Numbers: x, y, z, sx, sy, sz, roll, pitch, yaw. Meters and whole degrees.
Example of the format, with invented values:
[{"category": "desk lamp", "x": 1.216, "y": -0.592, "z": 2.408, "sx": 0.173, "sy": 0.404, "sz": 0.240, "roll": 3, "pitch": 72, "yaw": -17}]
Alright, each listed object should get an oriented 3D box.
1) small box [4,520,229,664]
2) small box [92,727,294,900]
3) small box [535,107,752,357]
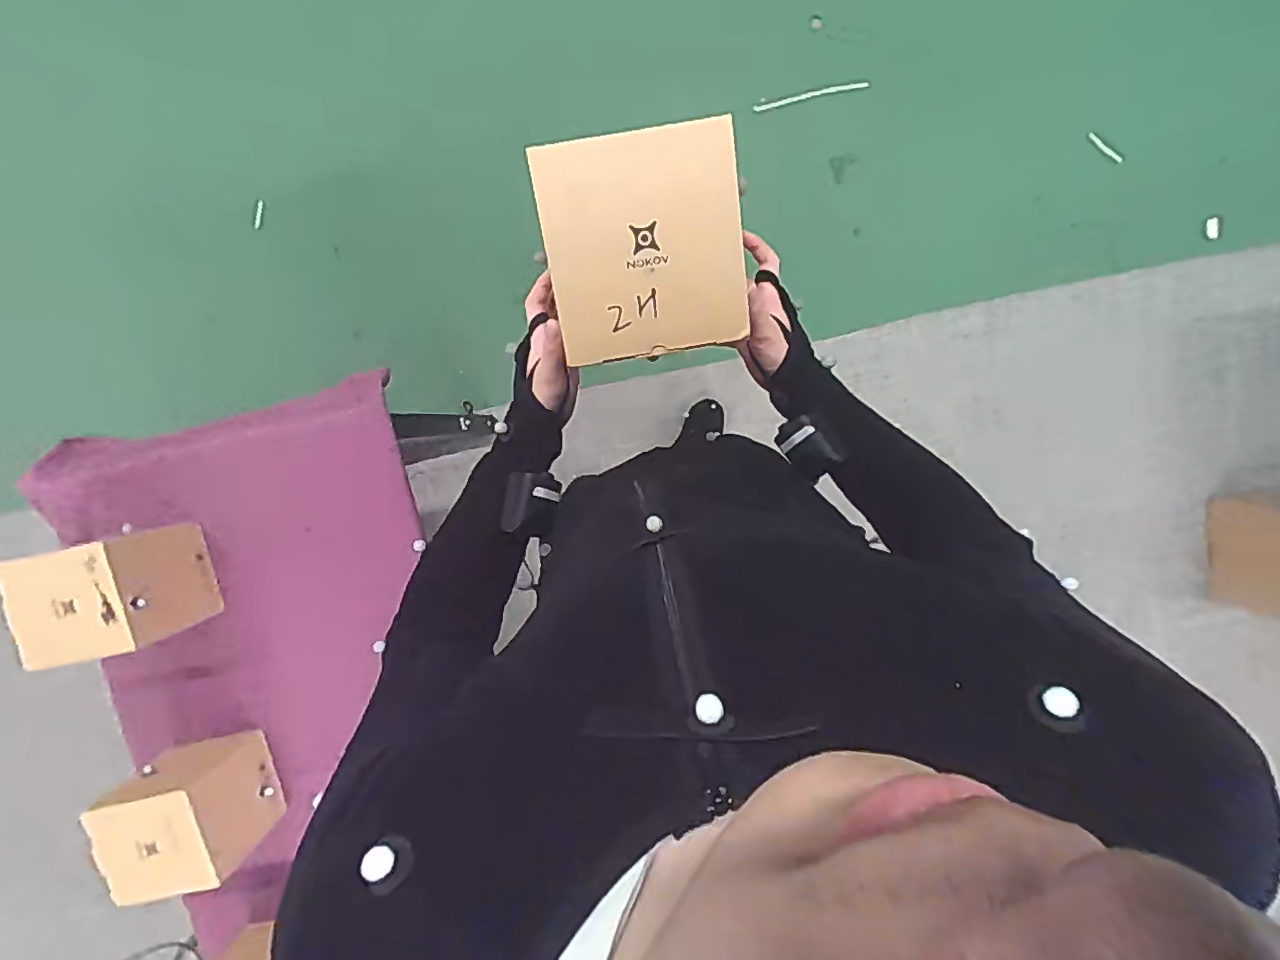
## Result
[{"category": "small box", "x": -0.822, "y": 0.171, "z": 0.868, "sx": 0.179, "sy": 0.176, "sz": 0.168, "roll": -11, "pitch": 97, "yaw": 4}, {"category": "small box", "x": -0.735, "y": 0.548, "z": 0.908, "sx": 0.179, "sy": 0.176, "sz": 0.168, "roll": -13, "pitch": 96, "yaw": 3}, {"category": "small box", "x": 0.004, "y": -0.223, "z": 0.522, "sx": 0.168, "sy": 0.176, "sz": 0.179, "roll": -8, "pitch": 109, "yaw": 1}]
